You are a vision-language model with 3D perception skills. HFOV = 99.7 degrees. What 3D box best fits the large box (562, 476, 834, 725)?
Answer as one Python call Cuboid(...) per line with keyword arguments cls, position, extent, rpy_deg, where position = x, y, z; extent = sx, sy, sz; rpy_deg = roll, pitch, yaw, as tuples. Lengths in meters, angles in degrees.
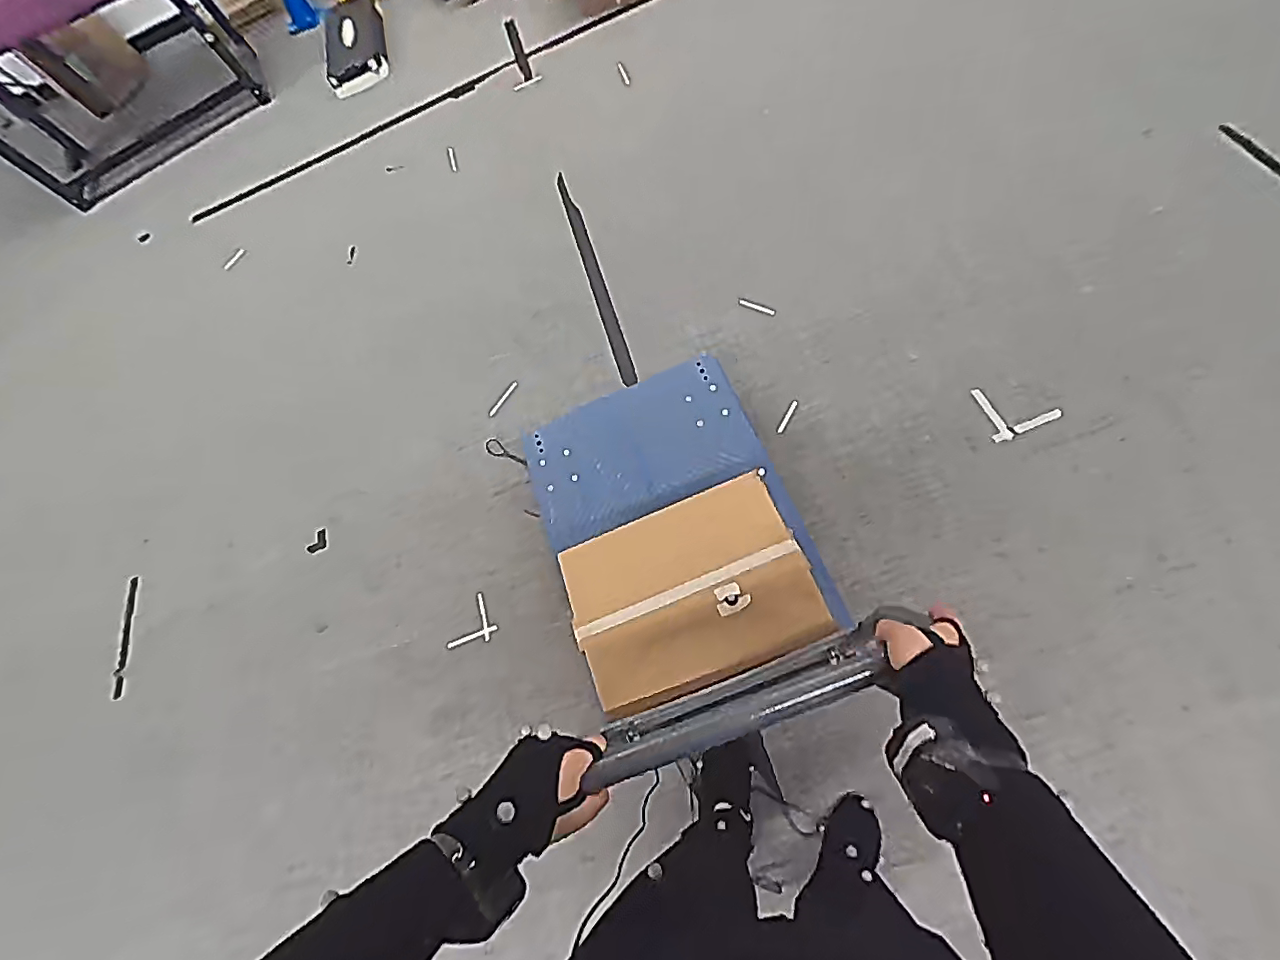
Cuboid(cls="large box", position=(0.115, 0.255, 1.074), extent=(0.408, 0.320, 0.320), rpy_deg=(-24, 64, 3))
